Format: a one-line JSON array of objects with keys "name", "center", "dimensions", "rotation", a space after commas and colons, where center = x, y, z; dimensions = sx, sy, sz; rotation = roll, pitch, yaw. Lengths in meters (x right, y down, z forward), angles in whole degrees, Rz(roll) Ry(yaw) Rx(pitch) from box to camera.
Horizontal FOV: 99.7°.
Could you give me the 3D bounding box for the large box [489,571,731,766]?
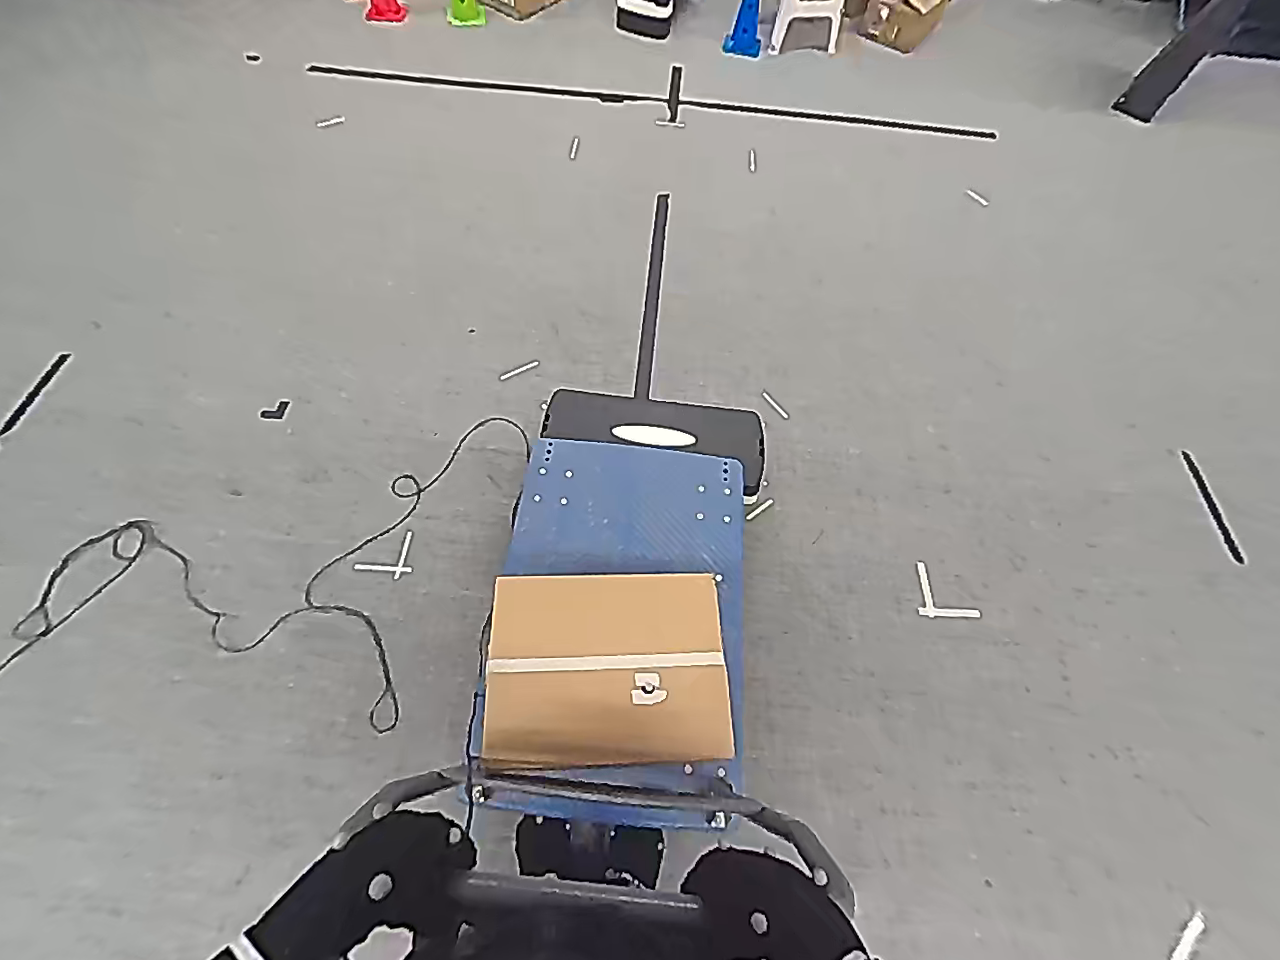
[{"name": "large box", "center": [-0.065, 0.383, 1.077], "dimensions": [0.408, 0.320, 0.320], "rotation": [0, 62, -5]}]
